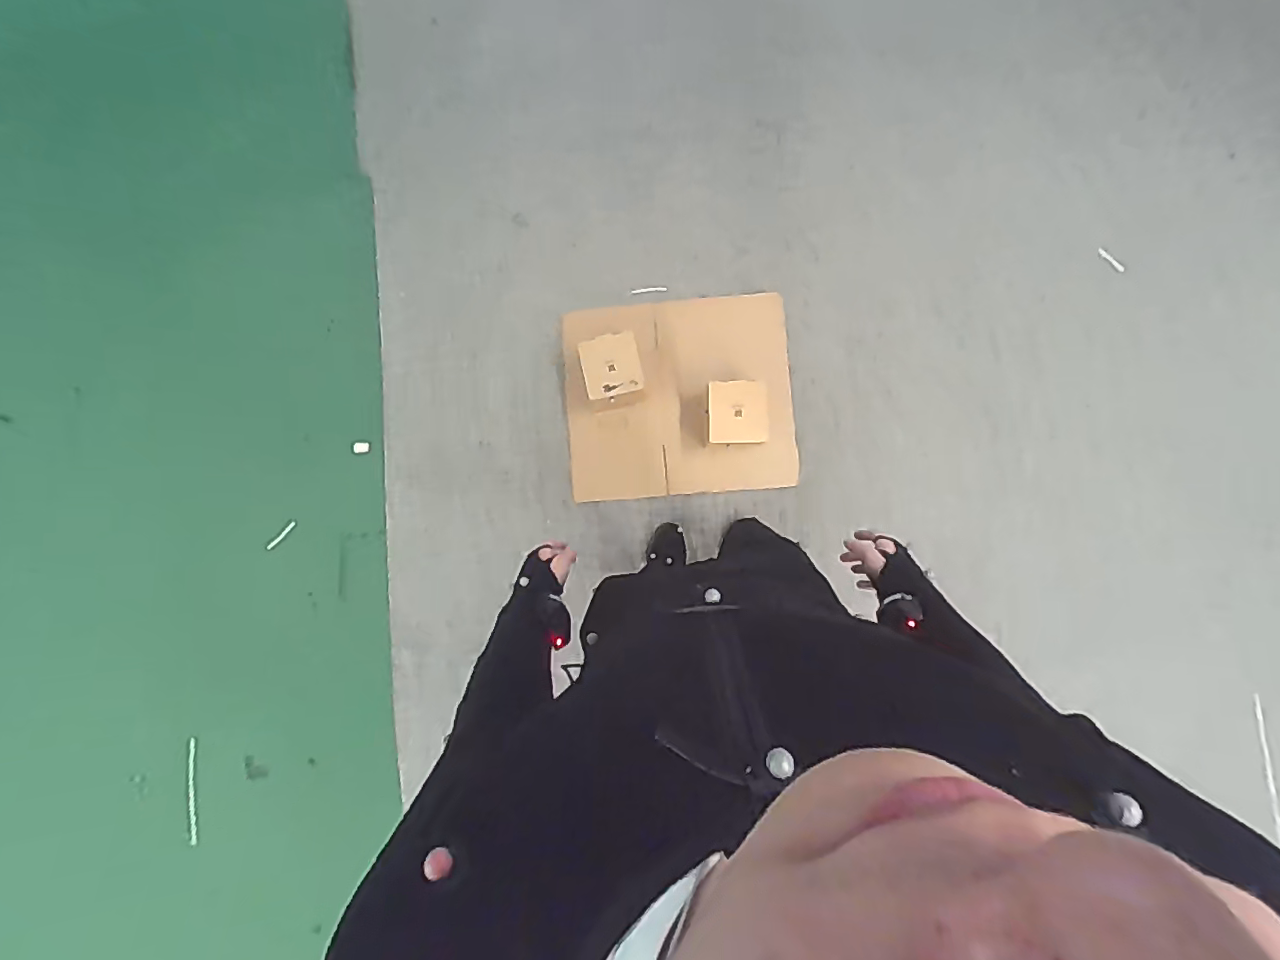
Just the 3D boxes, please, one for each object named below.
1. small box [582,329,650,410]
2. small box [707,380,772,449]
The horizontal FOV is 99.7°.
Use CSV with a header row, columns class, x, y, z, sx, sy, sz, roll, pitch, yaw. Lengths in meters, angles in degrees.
class,x,y,z,sx,sy,sz,roll,pitch,yaw
small box,-0.068,-0.319,1.588,0.168,0.176,0.179,-12,85,2
small box,0.284,-0.182,1.559,0.168,0.176,0.179,-1,85,3
